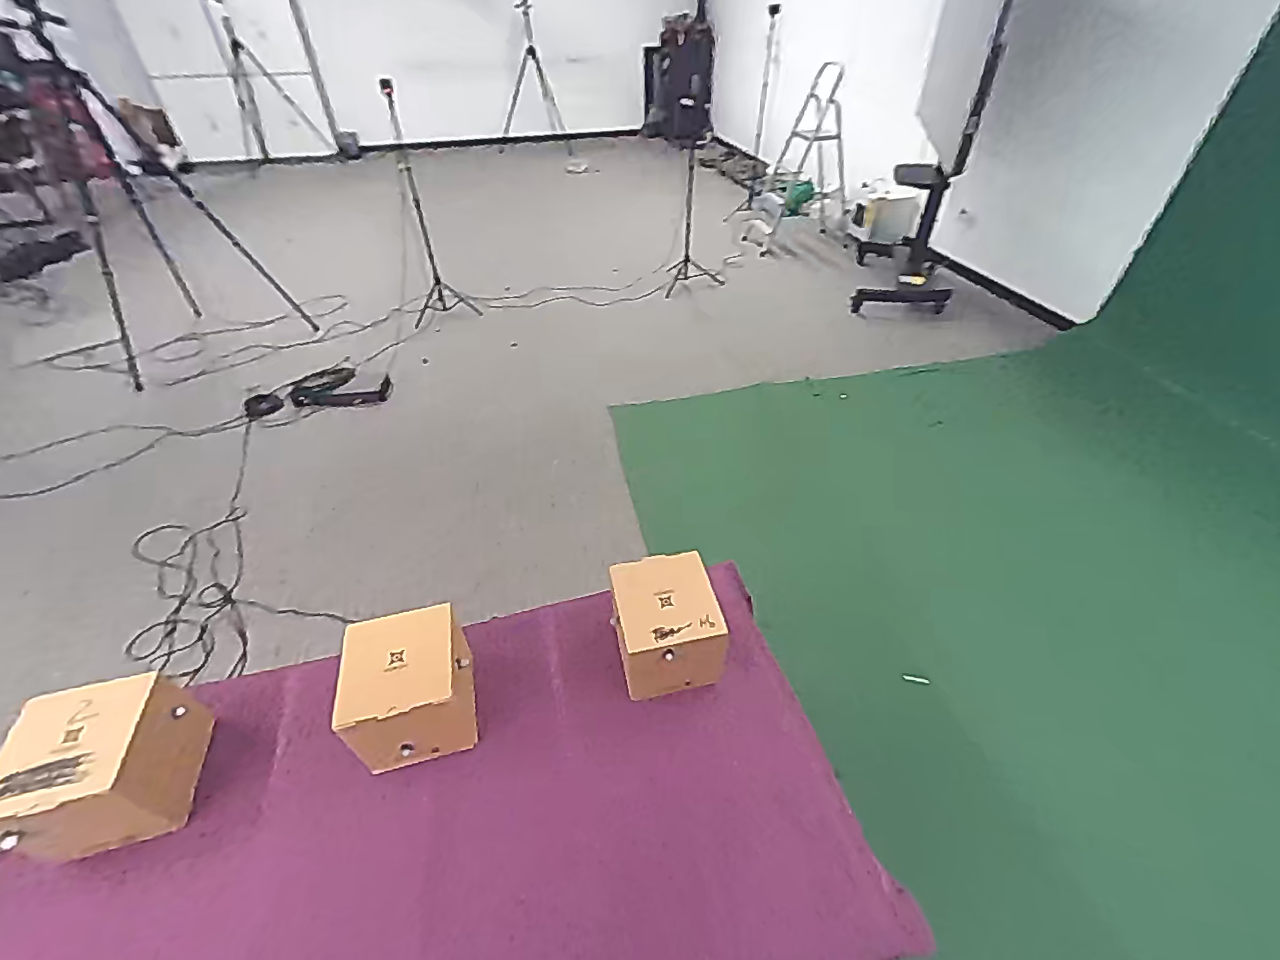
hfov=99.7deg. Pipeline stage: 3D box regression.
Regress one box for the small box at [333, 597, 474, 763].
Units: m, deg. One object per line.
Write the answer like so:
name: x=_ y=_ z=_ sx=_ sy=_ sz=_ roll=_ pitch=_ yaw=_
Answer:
small box: x=-0.370 y=0.322 z=0.876 sx=0.168 sy=0.176 sz=0.179 roll=-11 pitch=44 yaw=-12

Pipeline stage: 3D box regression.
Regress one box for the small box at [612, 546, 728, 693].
small box: x=0.044 y=0.245 z=0.955 sx=0.168 sy=0.176 sz=0.179 roll=-9 pitch=44 yaw=-8
